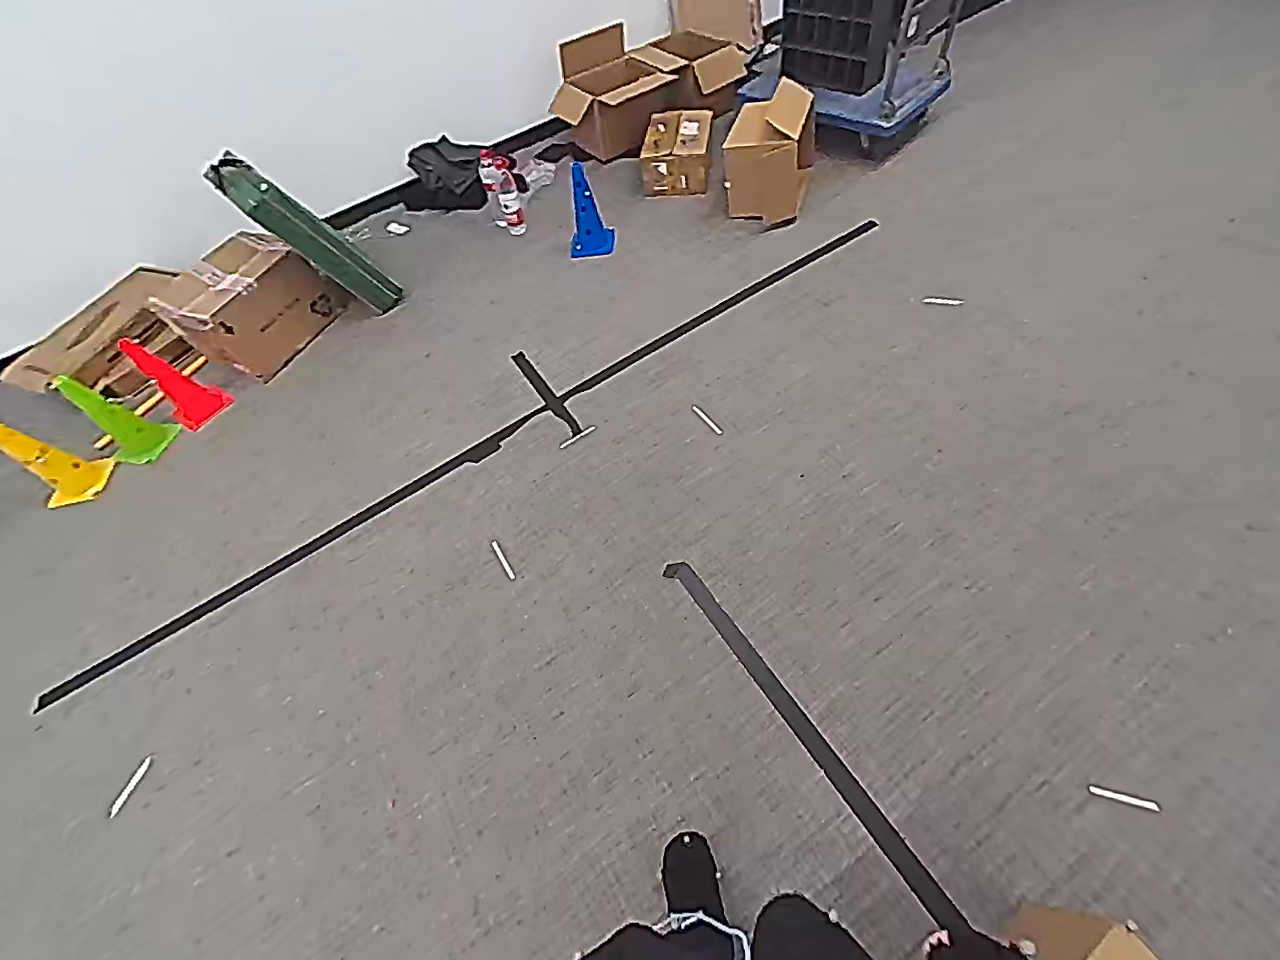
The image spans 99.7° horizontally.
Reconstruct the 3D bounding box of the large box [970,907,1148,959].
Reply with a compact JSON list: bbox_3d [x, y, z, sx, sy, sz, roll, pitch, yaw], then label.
[{"bbox_3d":[0.643,0.938,0.799,0.408,0.320,0.320,-33,58,-15],"label":"large box"}]
